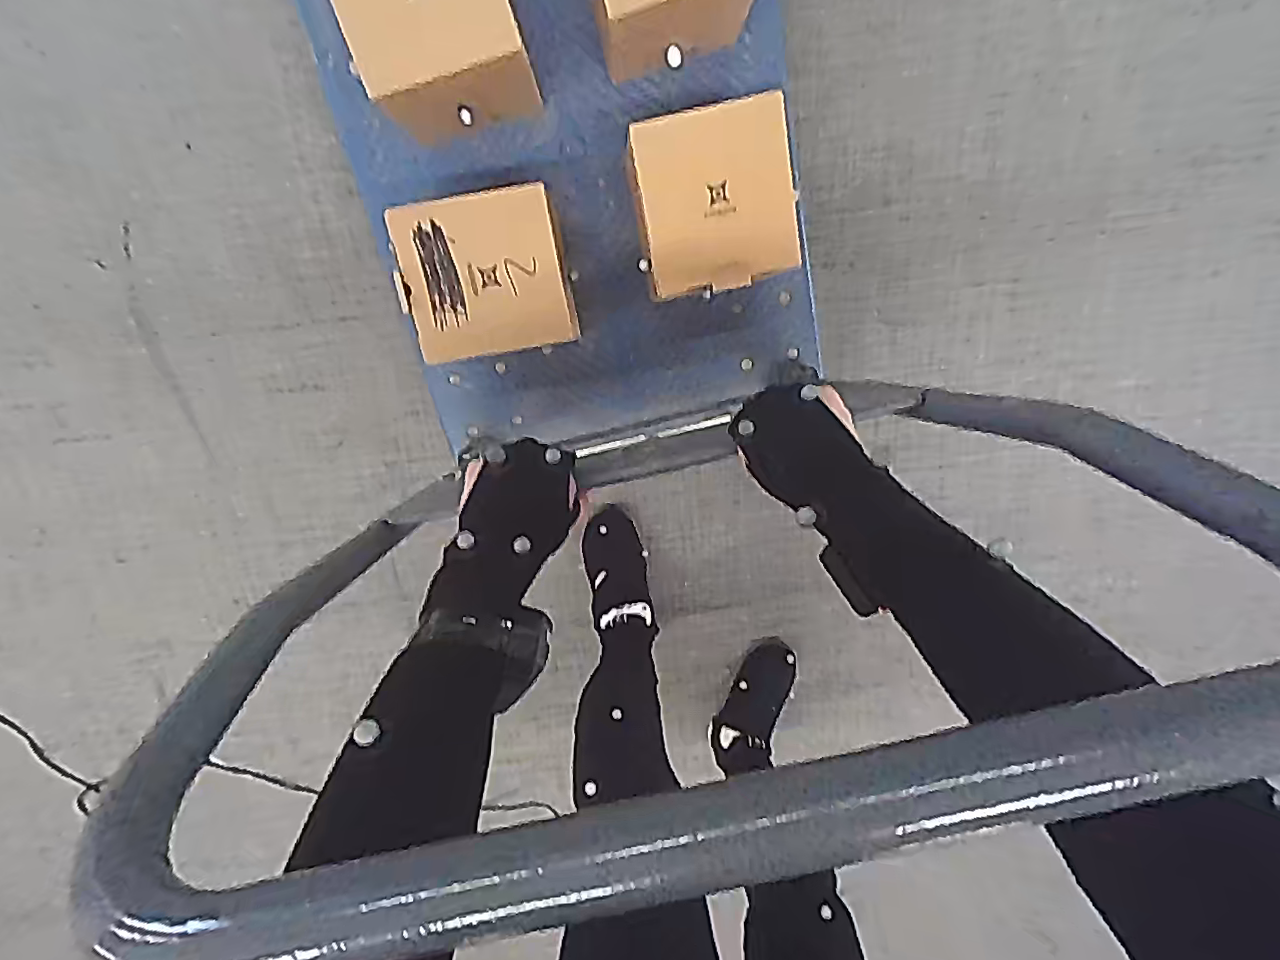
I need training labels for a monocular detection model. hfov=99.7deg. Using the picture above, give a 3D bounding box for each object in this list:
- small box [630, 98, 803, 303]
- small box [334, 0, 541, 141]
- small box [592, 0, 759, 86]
[{"bbox_3d":[0.084,-0.322,0.661,0.168,0.176,0.179,-12,107,1],"label":"small box"},{"bbox_3d":[-0.218,-0.502,0.594,0.168,0.176,0.179,-16,107,2],"label":"small box"},{"bbox_3d":[0.024,-0.574,0.581,0.168,0.176,0.179,-16,108,4],"label":"small box"}]
